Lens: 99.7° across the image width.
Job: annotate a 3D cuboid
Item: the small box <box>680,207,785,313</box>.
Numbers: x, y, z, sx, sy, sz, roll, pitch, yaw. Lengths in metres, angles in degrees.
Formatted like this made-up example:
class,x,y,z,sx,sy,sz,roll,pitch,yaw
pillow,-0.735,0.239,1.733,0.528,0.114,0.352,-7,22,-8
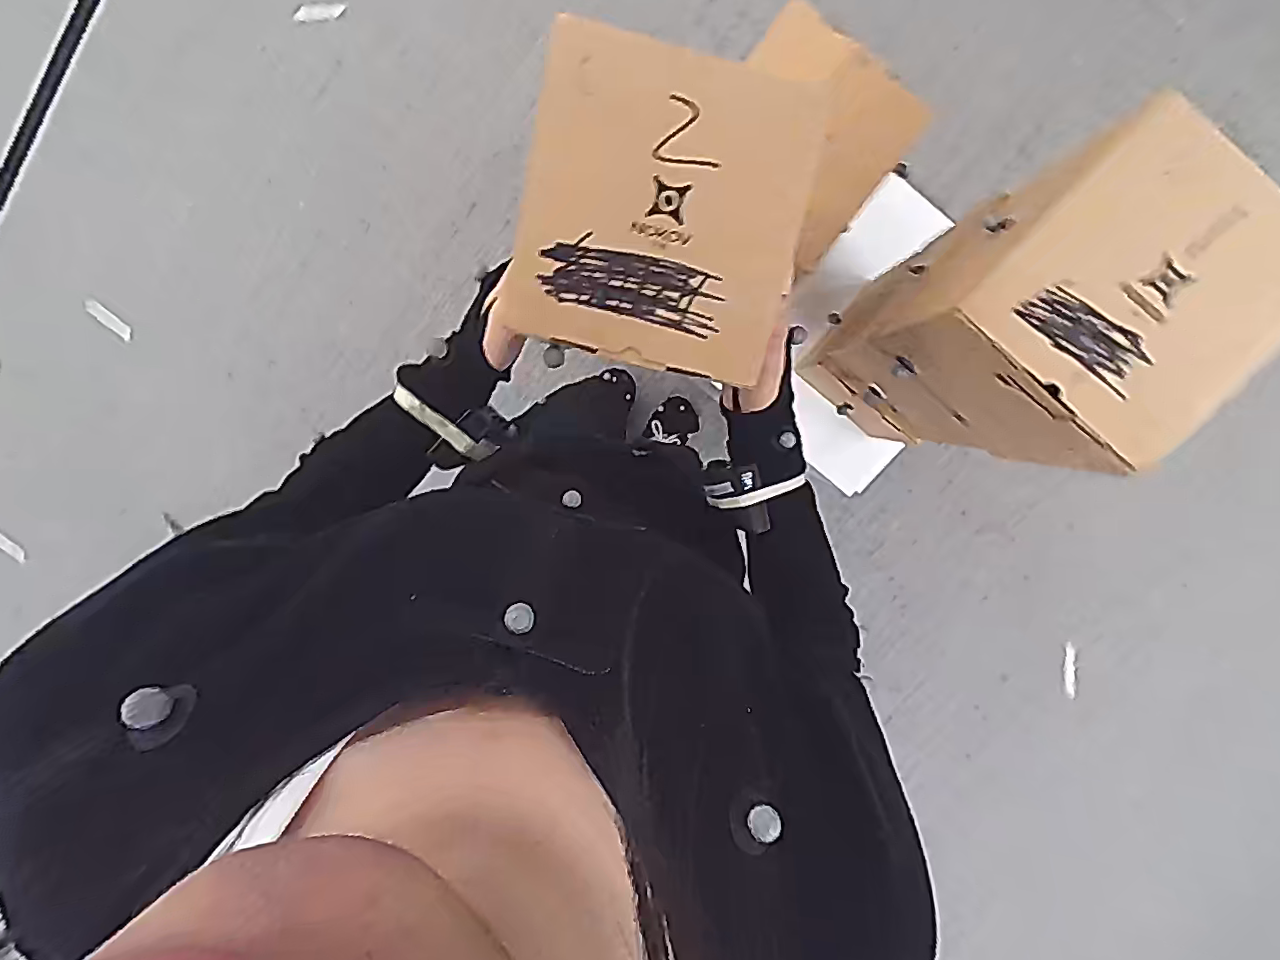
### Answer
class,x,y,z,sx,sy,sz,roll,pitch,yaw
small box,0.165,-0.351,0.726,0.168,0.176,0.179,37,100,-2

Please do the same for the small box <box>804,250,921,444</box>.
class,x,y,z,sx,sy,sz,roll,pitch,yaw
small box,0.346,-0.173,0.741,0.168,0.176,0.179,40,101,-3

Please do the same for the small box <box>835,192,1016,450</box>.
class,x,y,z,sx,sy,sz,roll,pitch,yaw
small box,0.341,-0.155,0.579,0.168,0.176,0.179,41,100,-2

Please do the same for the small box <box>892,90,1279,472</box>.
class,x,y,z,sx,sy,sz,roll,pitch,yaw
small box,0.327,-0.129,0.417,0.168,0.176,0.179,42,97,-1

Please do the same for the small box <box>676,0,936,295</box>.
class,x,y,z,sx,sy,sz,roll,pitch,yaw
small box,0.154,-0.322,0.566,0.168,0.176,0.179,38,99,-3
